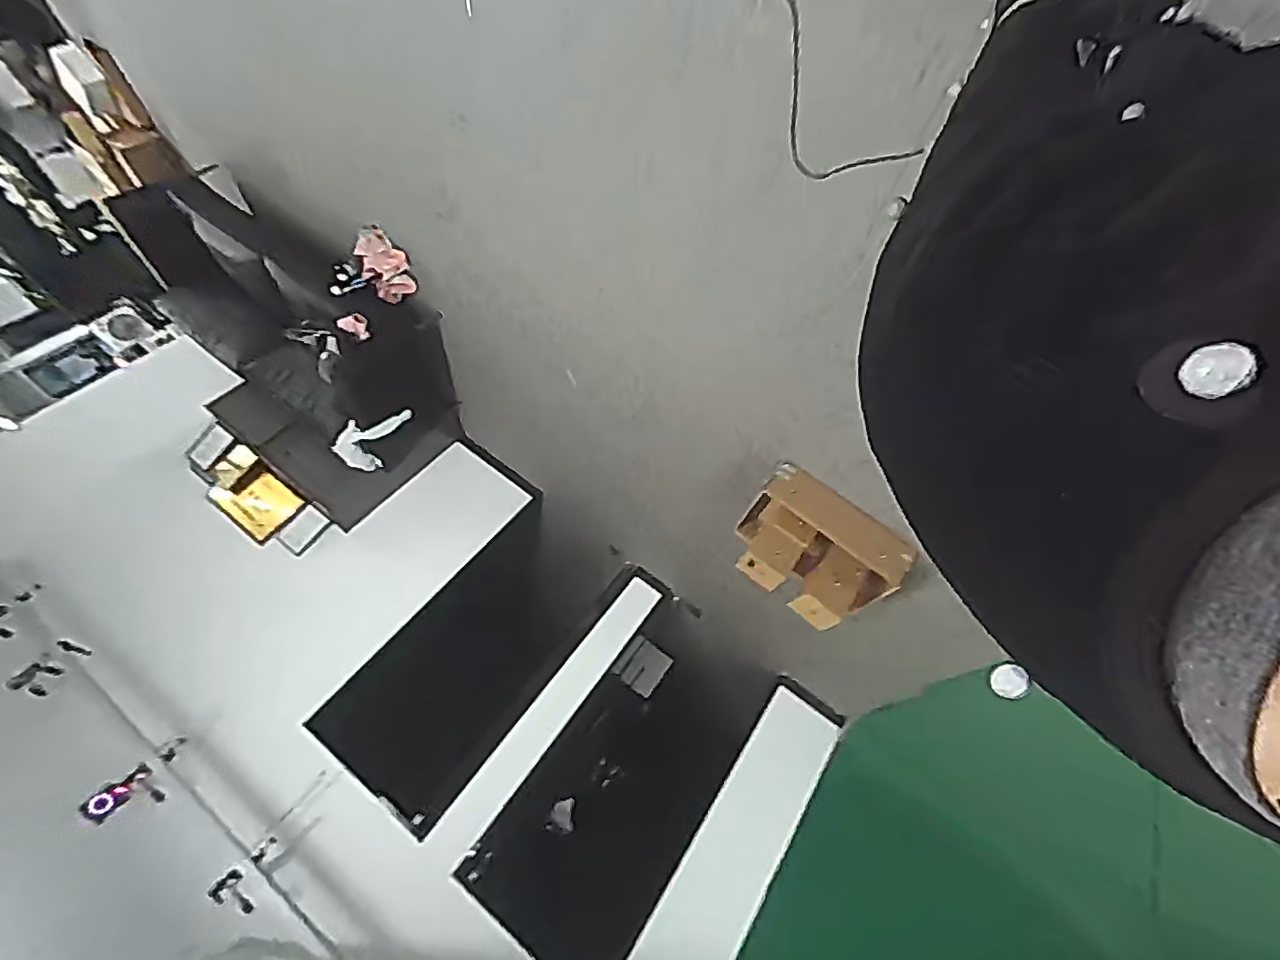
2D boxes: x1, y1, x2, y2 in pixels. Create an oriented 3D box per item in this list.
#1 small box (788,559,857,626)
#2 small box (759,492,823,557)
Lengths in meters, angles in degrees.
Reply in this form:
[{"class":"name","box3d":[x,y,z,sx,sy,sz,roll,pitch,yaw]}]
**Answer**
[{"class":"small box","box3d":[0.721,0.442,2.124,0.168,0.176,0.179,38,151,9]},{"class":"small box","box3d":[0.628,0.181,2.234,0.179,0.176,0.168,34,149,11]}]
